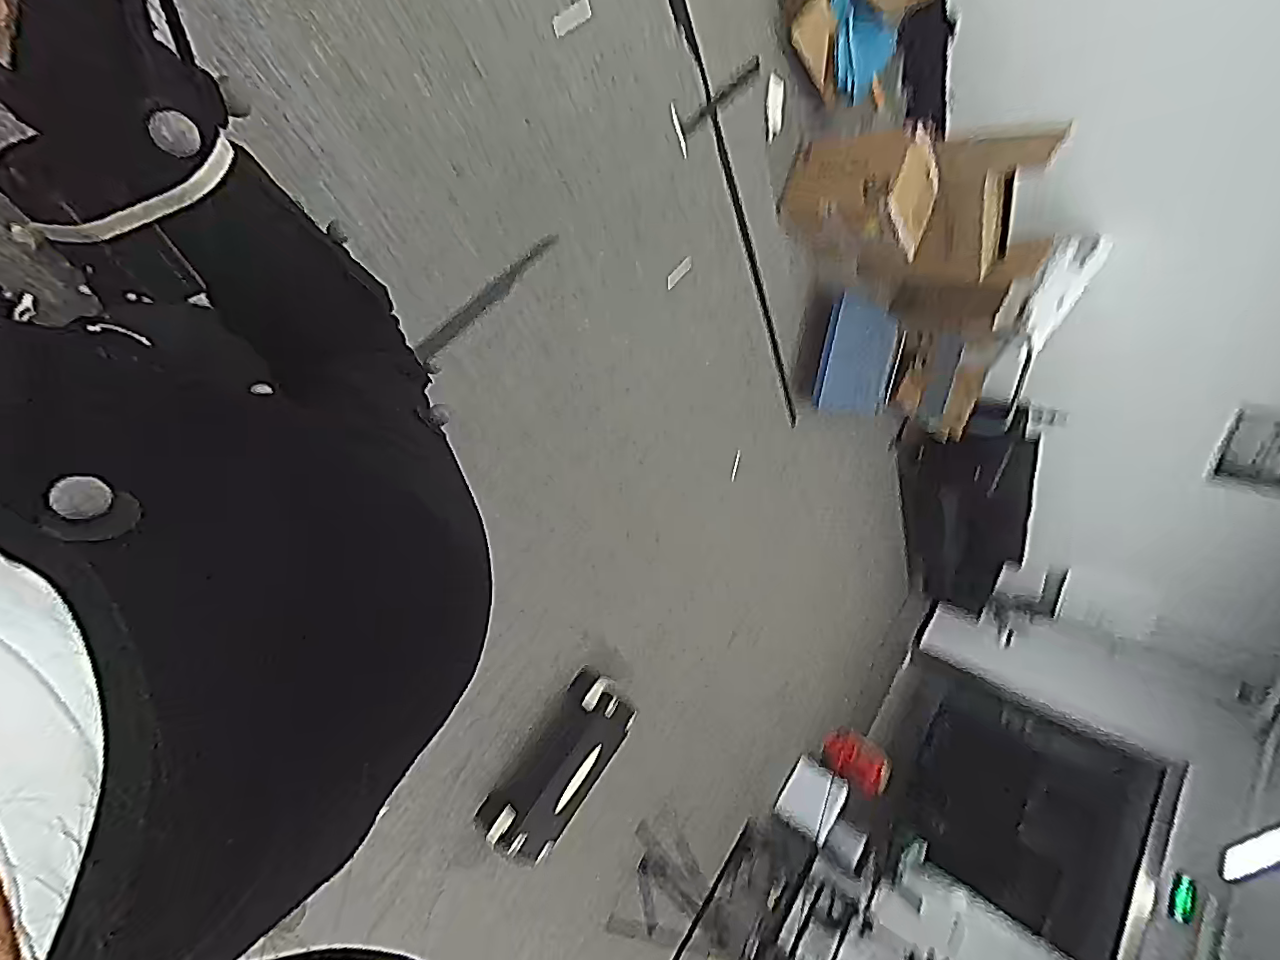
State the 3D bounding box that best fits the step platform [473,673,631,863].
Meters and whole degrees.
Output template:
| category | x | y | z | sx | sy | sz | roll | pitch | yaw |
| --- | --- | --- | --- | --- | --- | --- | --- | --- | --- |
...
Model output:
| category | x | y | z | sx | sy | sz | roll | pitch | yaw |
| --- | --- | --- | --- | --- | --- | --- | --- | --- | --- |
| step platform | -0.322 | 1.136 | 2.152 | 0.684 | 0.204 | 0.286 | -53 | 138 | -21 |
